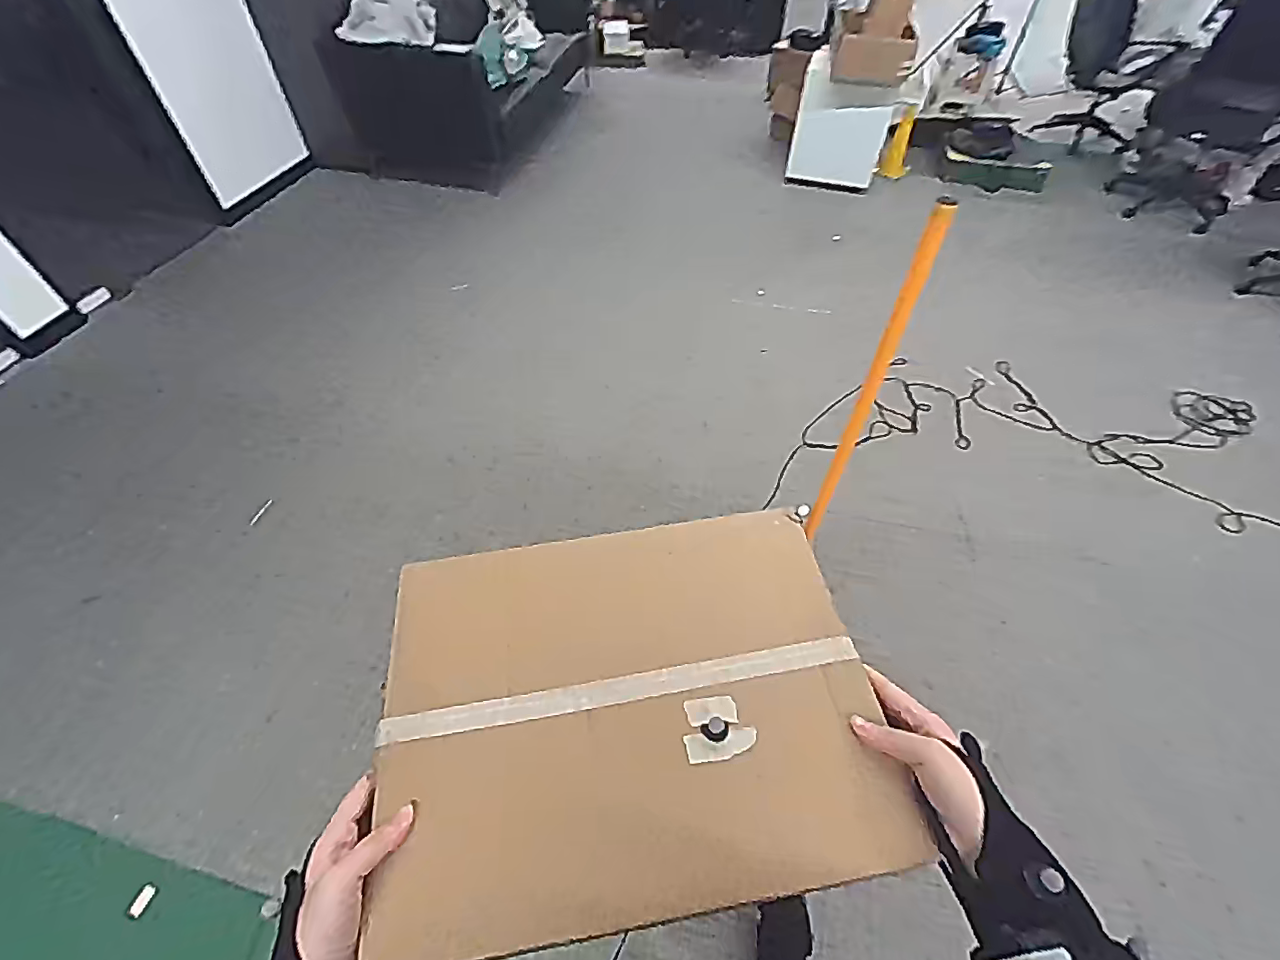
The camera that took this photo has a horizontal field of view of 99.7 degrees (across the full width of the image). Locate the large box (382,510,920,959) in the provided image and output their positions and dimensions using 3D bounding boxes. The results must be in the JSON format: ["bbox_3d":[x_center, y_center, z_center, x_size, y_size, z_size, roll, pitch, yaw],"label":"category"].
[{"bbox_3d":[-0.010,0.272,0.589,0.408,0.320,0.320,-8,53,-6],"label":"large box"}]
